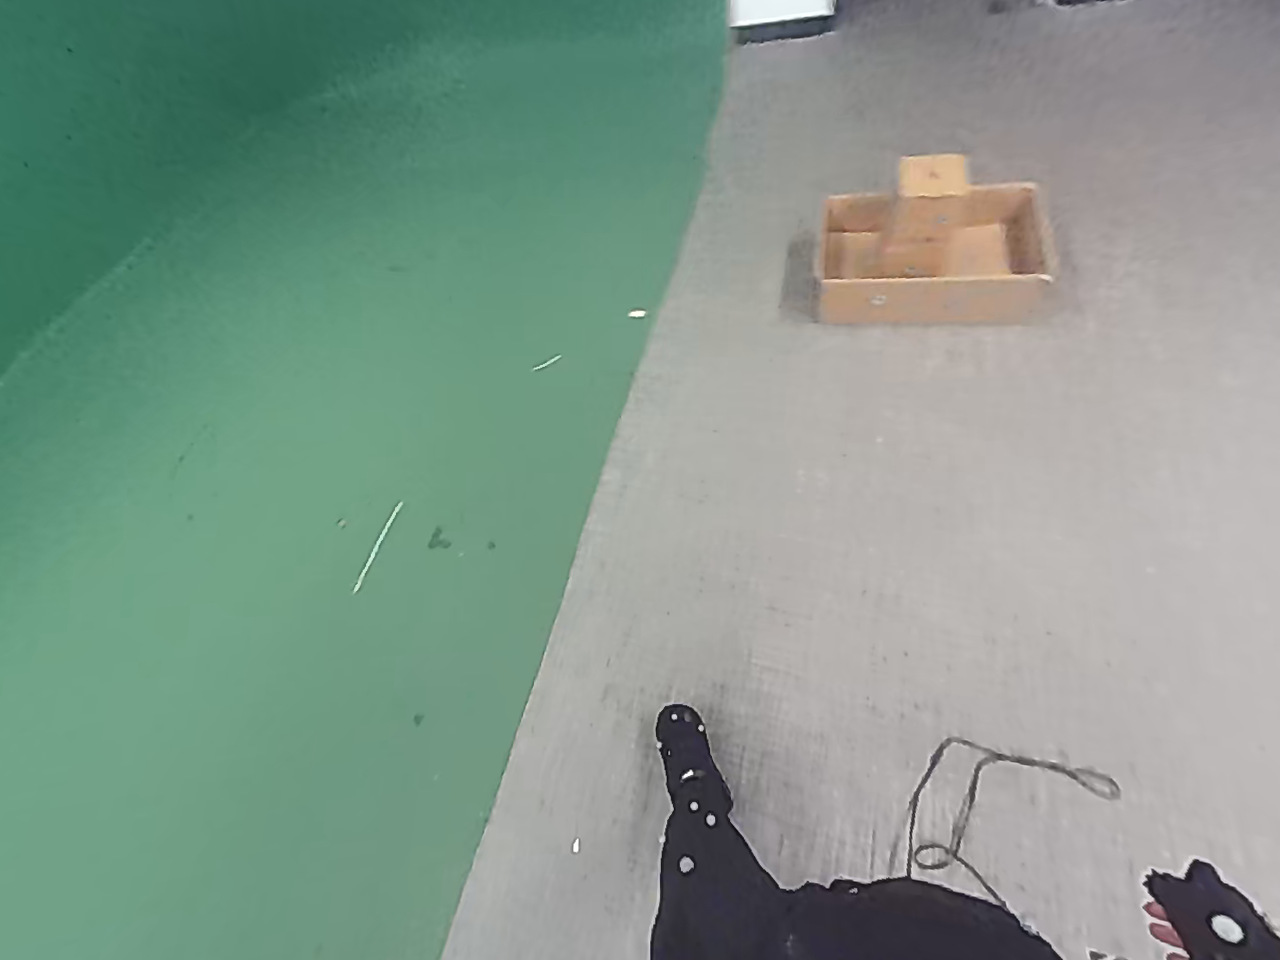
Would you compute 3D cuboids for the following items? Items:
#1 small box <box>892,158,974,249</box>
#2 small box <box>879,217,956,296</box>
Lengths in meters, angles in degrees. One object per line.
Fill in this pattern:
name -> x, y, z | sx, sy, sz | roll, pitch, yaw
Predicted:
small box -> 0.818, -0.772, 1.525 | 0.168, 0.176, 0.179 | 5, 61, 14
small box -> 0.844, -0.686, 1.659 | 0.179, 0.176, 0.168 | 3, 61, 16
